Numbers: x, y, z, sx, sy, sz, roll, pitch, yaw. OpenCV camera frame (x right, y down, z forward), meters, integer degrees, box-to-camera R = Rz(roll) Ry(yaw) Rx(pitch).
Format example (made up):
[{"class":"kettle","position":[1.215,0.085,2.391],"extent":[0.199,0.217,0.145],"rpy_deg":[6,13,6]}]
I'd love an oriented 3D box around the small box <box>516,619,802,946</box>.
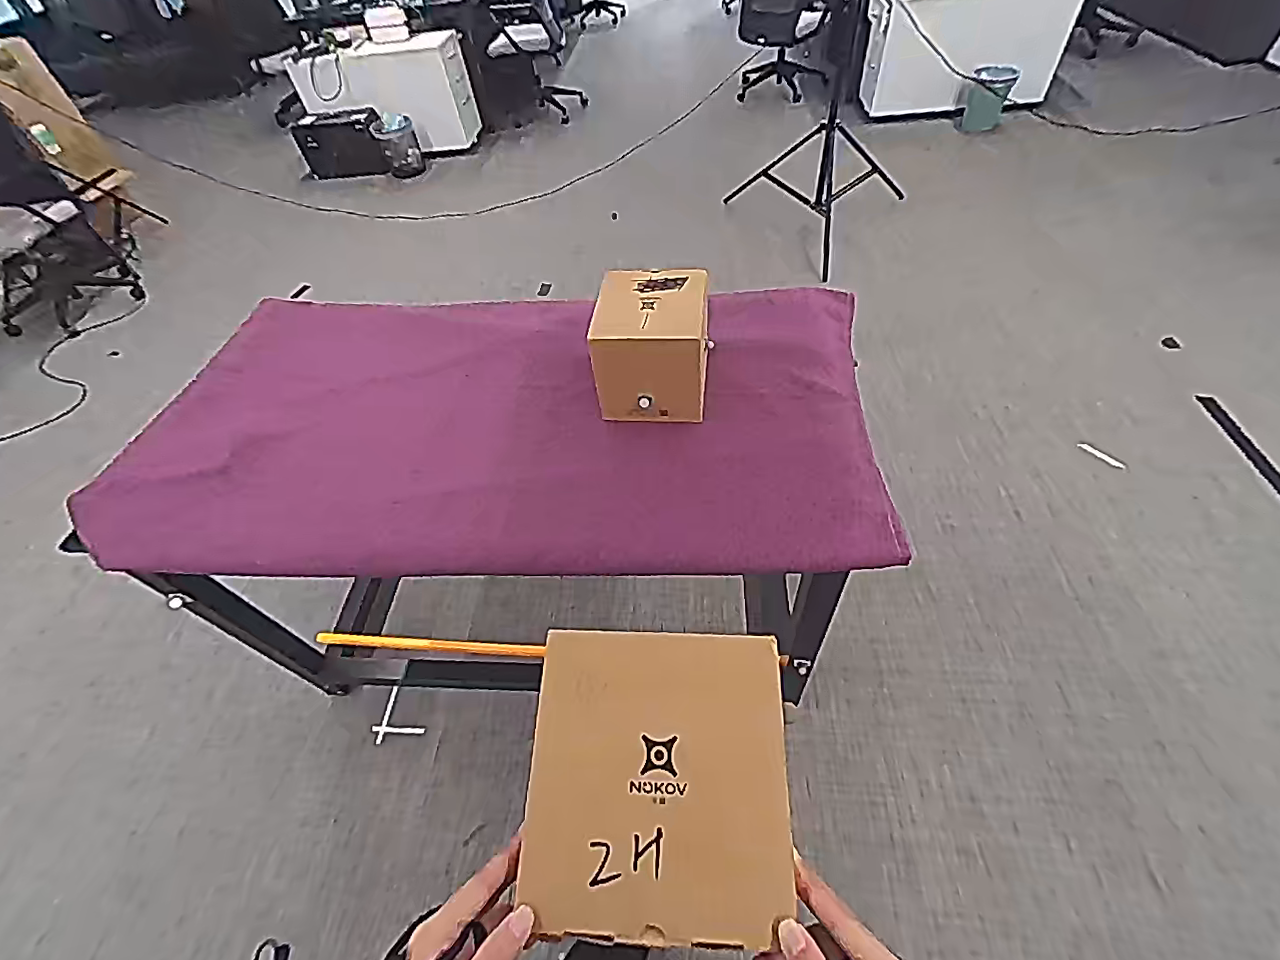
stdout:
[{"class":"small box","position":[0.019,0.218,0.414],"extent":[0.168,0.176,0.179],"rpy_deg":[1,60,5]}]

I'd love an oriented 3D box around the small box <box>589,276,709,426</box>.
[{"class":"small box","position":[0.024,-0.209,0.878],"extent":[0.168,0.176,0.179],"rpy_deg":[2,52,9]}]
